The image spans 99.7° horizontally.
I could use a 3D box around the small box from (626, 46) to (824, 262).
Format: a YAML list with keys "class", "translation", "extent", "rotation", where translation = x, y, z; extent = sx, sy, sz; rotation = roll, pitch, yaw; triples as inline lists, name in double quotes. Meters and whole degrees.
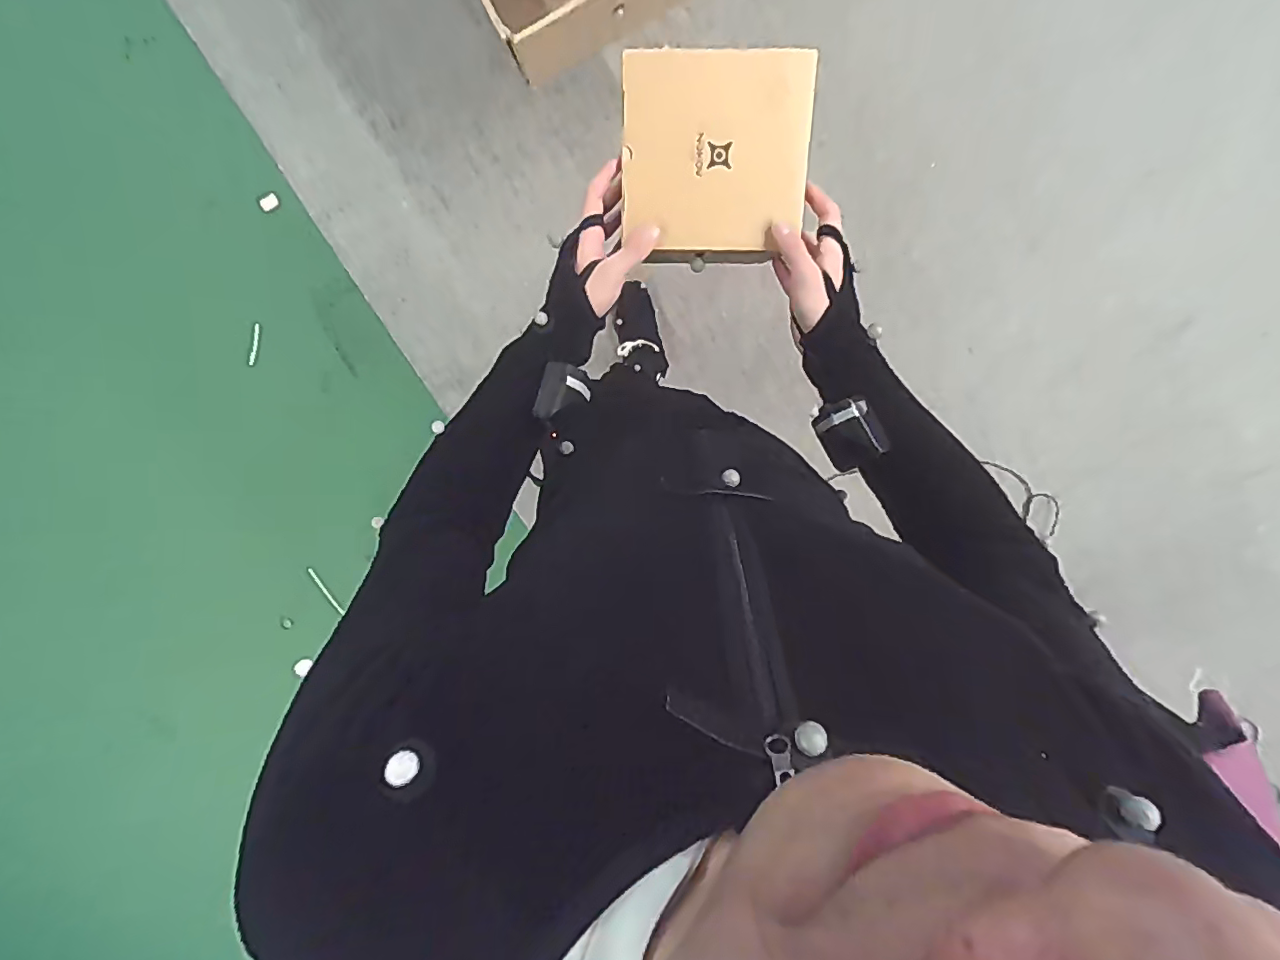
- class: "small box"
  translation: [0.076, -0.328, 0.576]
  extent: [0.179, 0.176, 0.168]
  rotation: [1, 108, 2]
